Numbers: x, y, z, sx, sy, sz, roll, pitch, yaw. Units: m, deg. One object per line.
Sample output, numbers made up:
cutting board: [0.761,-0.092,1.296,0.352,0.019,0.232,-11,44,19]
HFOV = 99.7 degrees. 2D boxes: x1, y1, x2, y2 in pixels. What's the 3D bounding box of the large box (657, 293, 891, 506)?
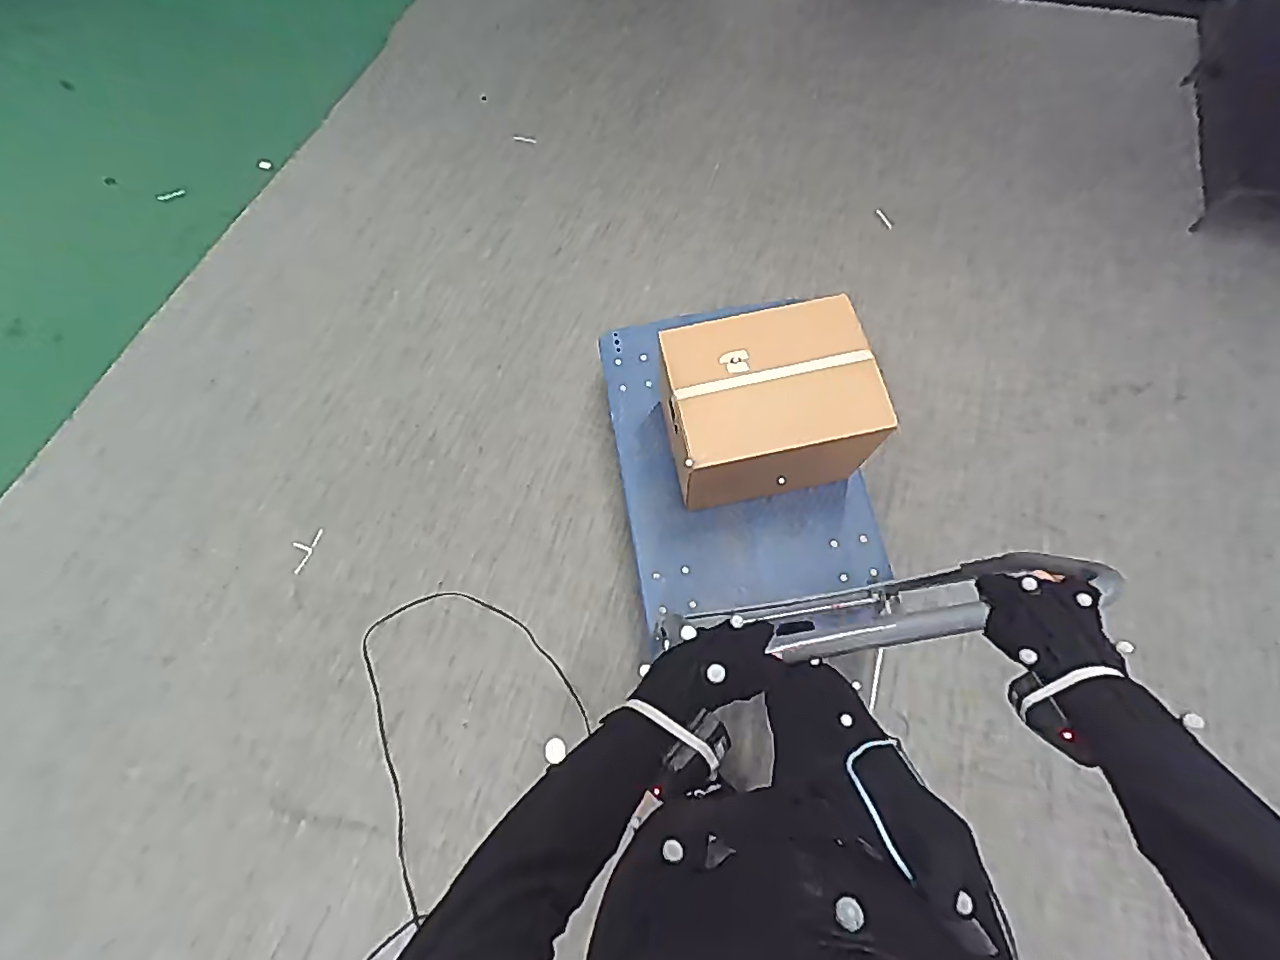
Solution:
large box: [0.273,-0.163,1.228,0.408,0.320,0.320,-14,72,0]
